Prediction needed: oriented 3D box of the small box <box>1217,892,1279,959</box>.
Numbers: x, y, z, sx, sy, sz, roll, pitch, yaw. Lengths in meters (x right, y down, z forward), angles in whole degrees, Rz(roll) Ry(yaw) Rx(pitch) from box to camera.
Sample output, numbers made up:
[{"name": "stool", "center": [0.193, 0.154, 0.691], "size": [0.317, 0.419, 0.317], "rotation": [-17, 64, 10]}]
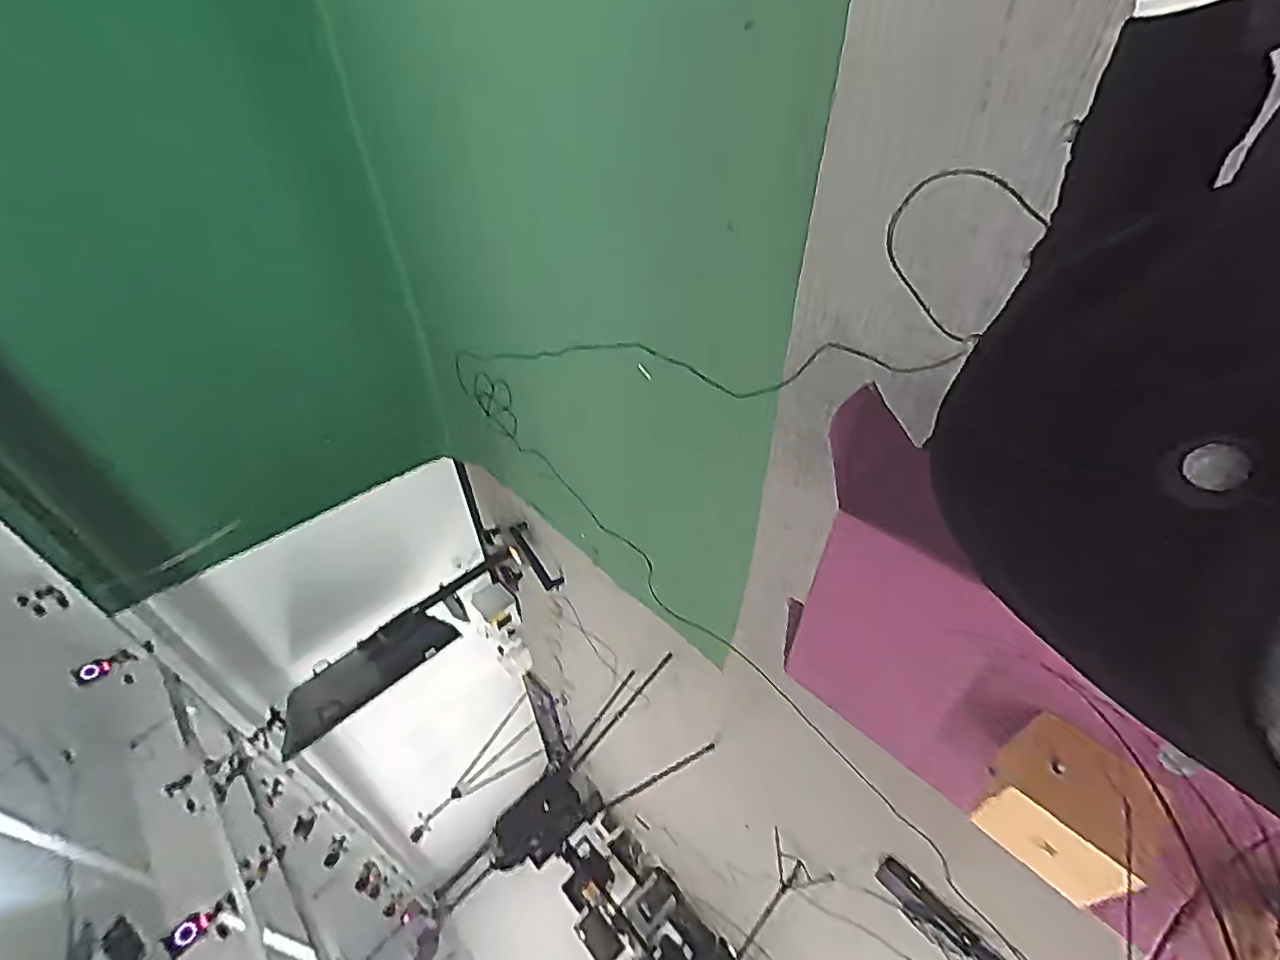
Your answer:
[{"name": "small box", "center": [0.913, 0.675, 0.692], "size": [0.179, 0.176, 0.168], "rotation": [42, 145, 24]}]

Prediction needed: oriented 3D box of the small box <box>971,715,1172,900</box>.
[{"name": "small box", "center": [0.680, 0.507, 0.861], "size": [0.179, 0.176, 0.168], "rotation": [35, 143, 31]}]
